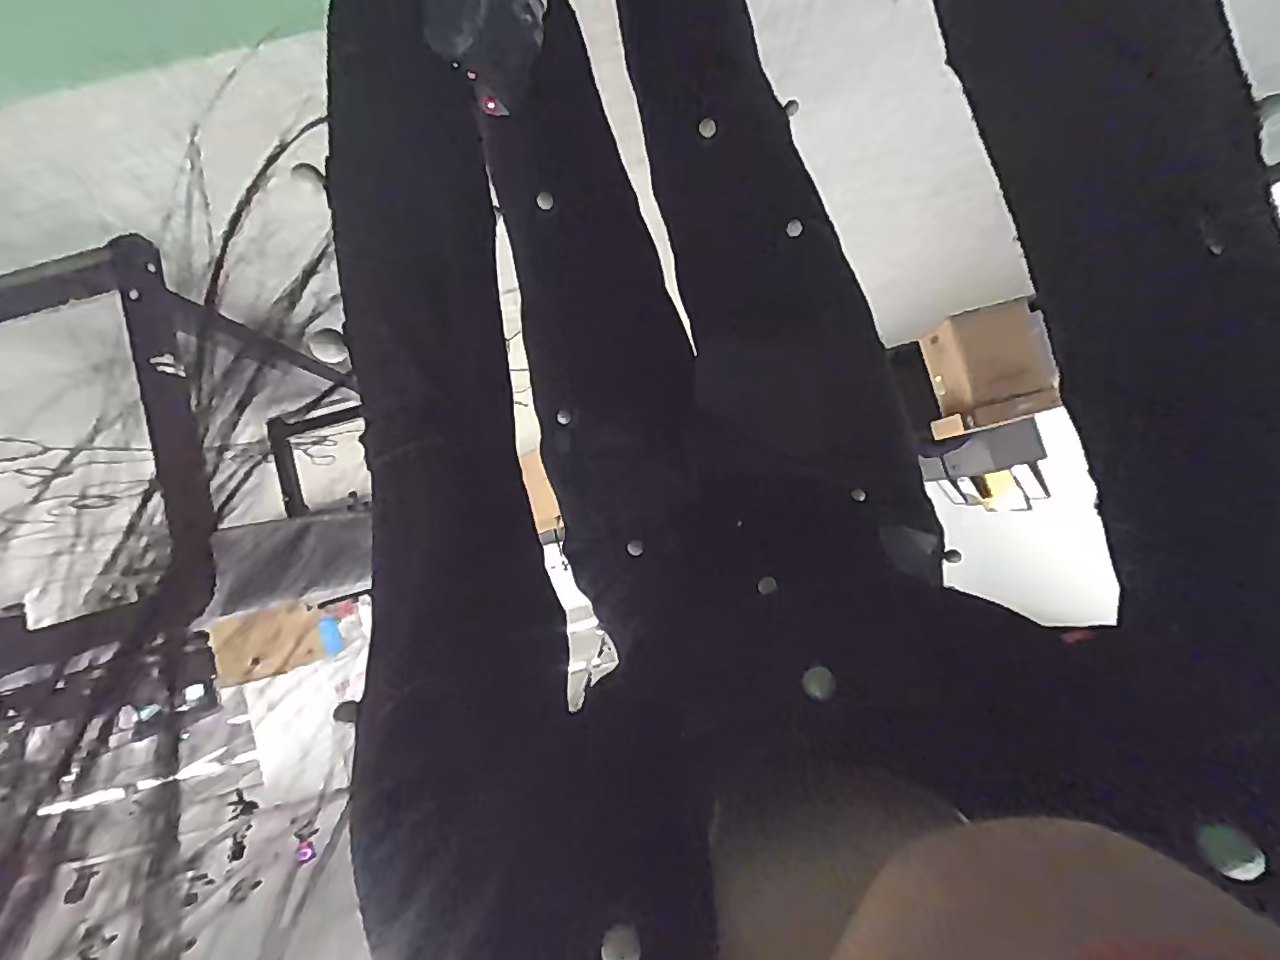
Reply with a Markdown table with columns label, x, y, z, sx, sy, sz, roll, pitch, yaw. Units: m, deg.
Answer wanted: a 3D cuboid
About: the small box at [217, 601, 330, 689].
| label | x | y | z | sx | sy | sz | roll | pitch | yaw |
| --- | --- | --- | --- | --- | --- | --- | --- | --- | --- |
| small box | -0.957 | 0.419 | 1.412 | 0.179 | 0.176 | 0.168 | -14 | 175 | 1 |
